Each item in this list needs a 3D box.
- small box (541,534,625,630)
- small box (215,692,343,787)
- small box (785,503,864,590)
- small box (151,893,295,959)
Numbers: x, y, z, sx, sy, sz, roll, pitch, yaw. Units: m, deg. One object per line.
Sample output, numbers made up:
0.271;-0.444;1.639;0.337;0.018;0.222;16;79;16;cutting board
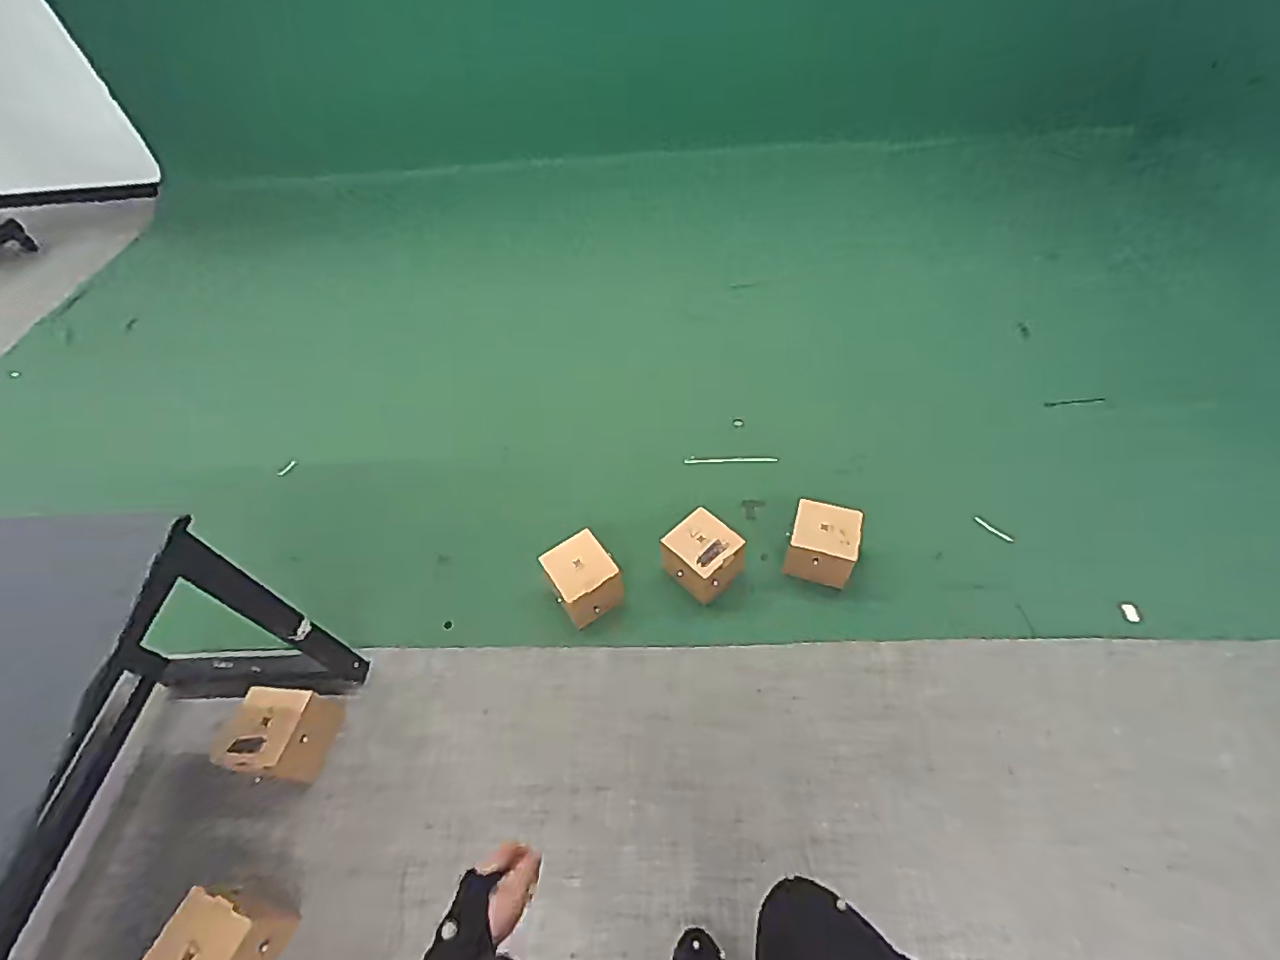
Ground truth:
-0.158;0.293;1.540;0.168;0.176;0.179;-31;56;-18;small box
-0.871;0.641;1.328;0.168;0.176;0.179;2;52;6;small box
0.525;0.195;1.553;0.179;0.176;0.168;14;55;15;small box
-0.836;0.960;1.078;0.168;0.176;0.179;14;56;16;small box
